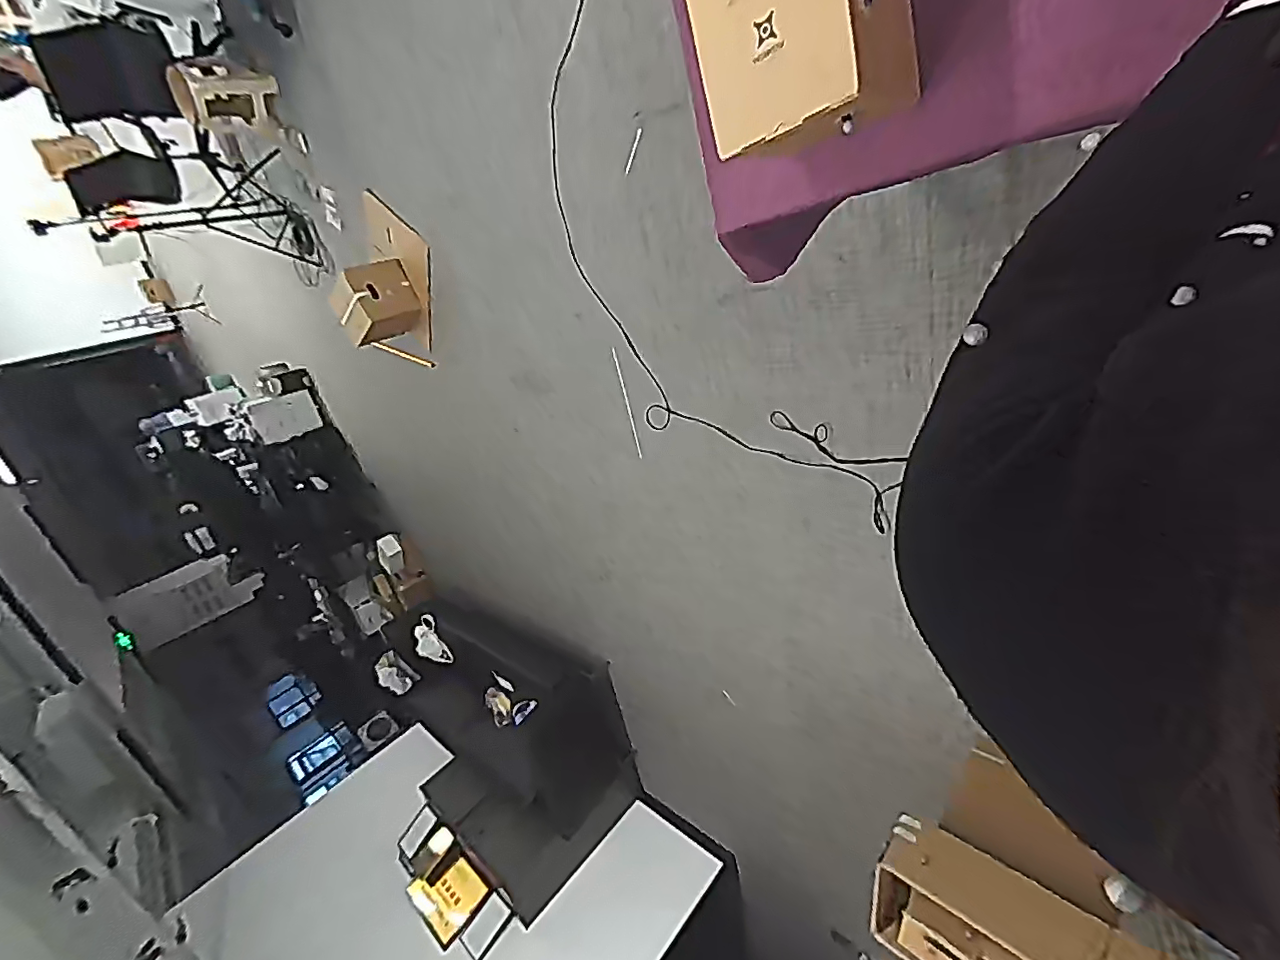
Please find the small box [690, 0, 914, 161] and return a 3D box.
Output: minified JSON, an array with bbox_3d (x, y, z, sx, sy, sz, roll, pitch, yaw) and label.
[{"bbox_3d":[0.182,-0.475,0.590,0.168,0.176,0.179,4,117,45],"label":"small box"}]
